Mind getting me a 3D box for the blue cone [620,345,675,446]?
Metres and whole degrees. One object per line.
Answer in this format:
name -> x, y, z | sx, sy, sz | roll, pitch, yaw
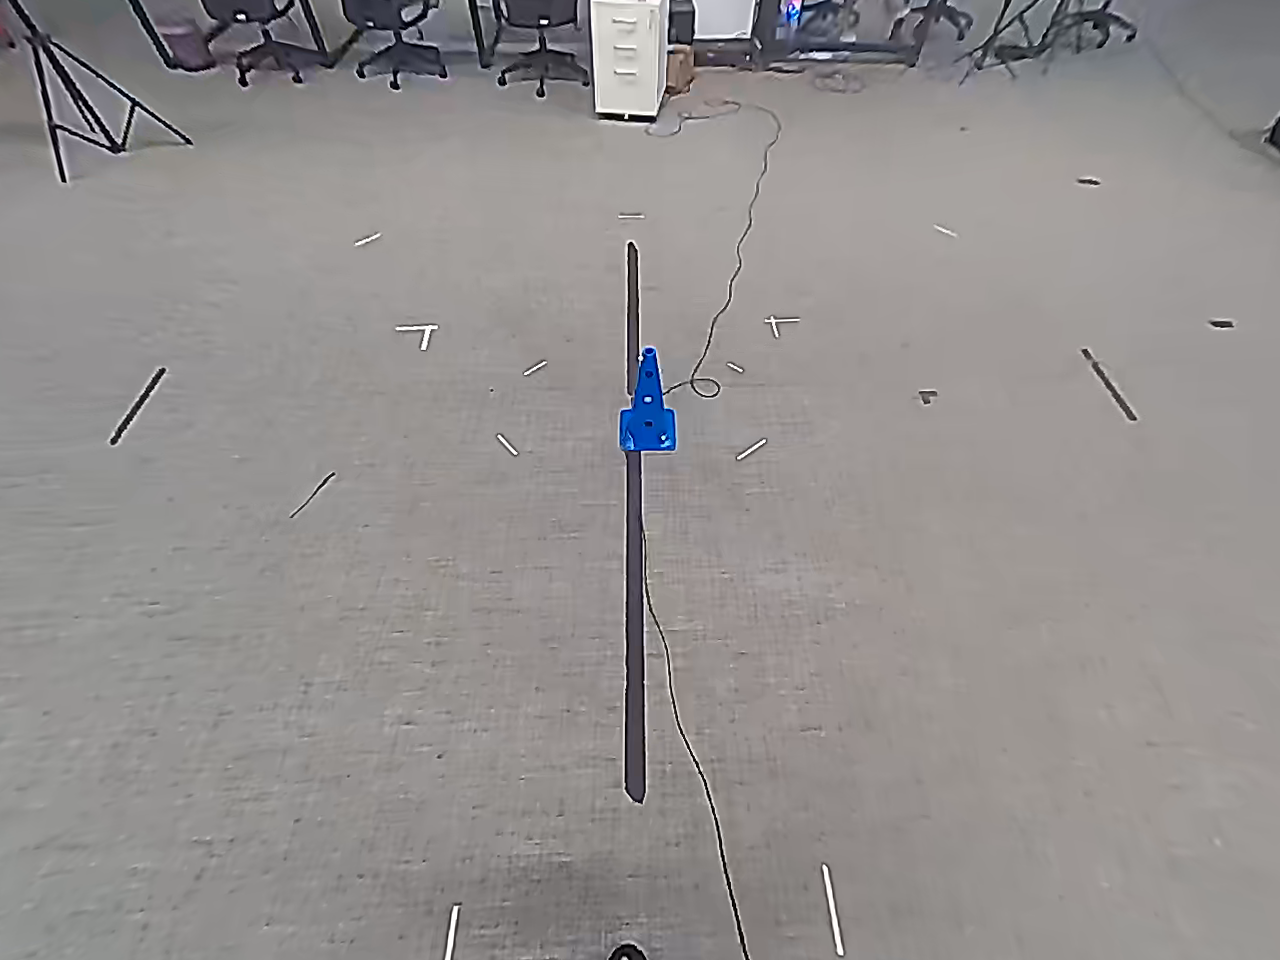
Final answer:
blue cone -> 0.027, -0.293, 1.796 | 0.193, 0.380, 0.192 | -1, 53, -2
